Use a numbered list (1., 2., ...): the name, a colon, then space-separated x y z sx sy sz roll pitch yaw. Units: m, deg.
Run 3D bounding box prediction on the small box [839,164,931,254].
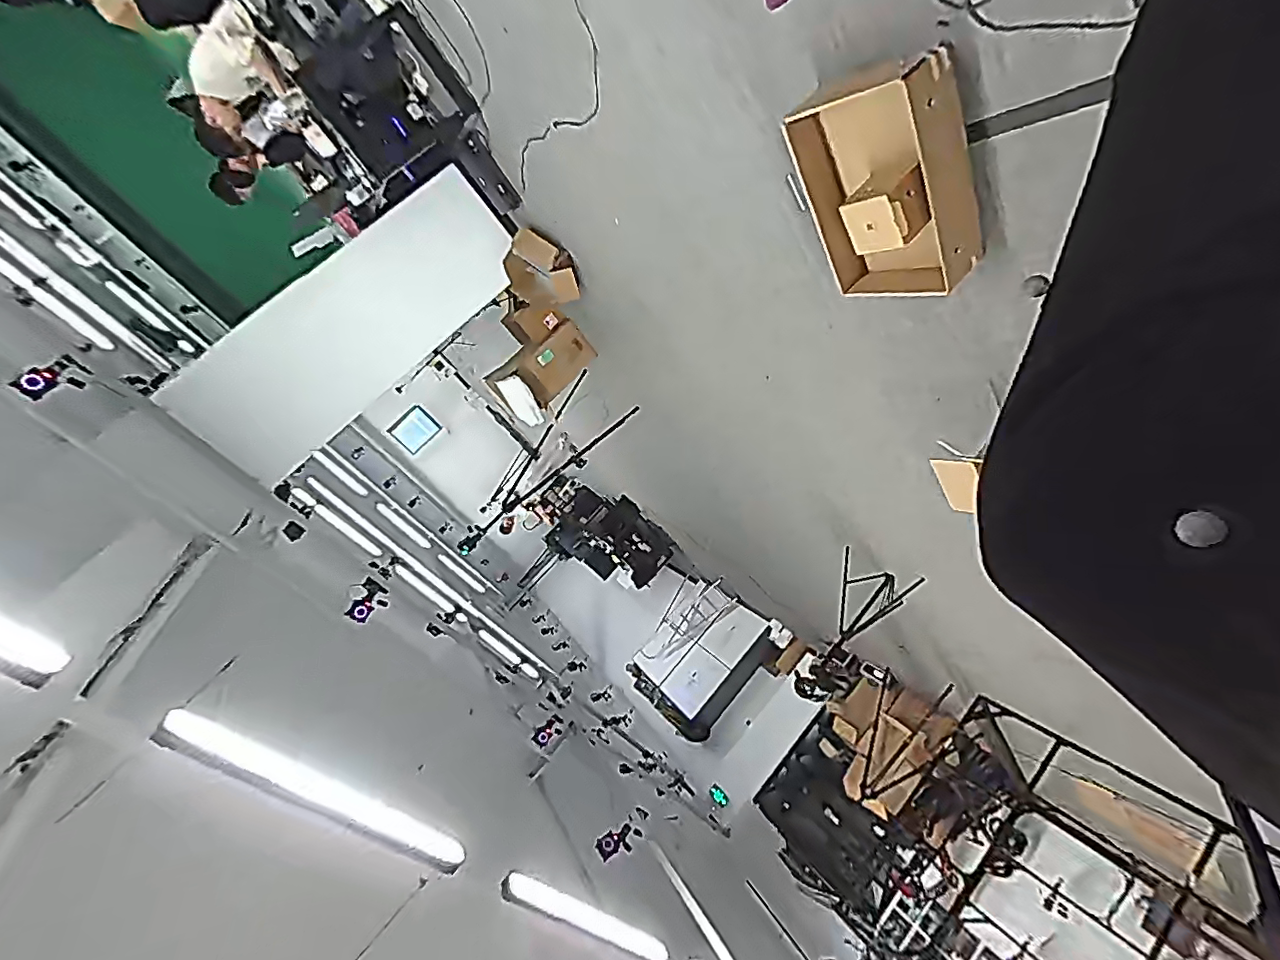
1. small box: 0.739 -0.810 1.618 0.168 0.176 0.179 52 165 -29
